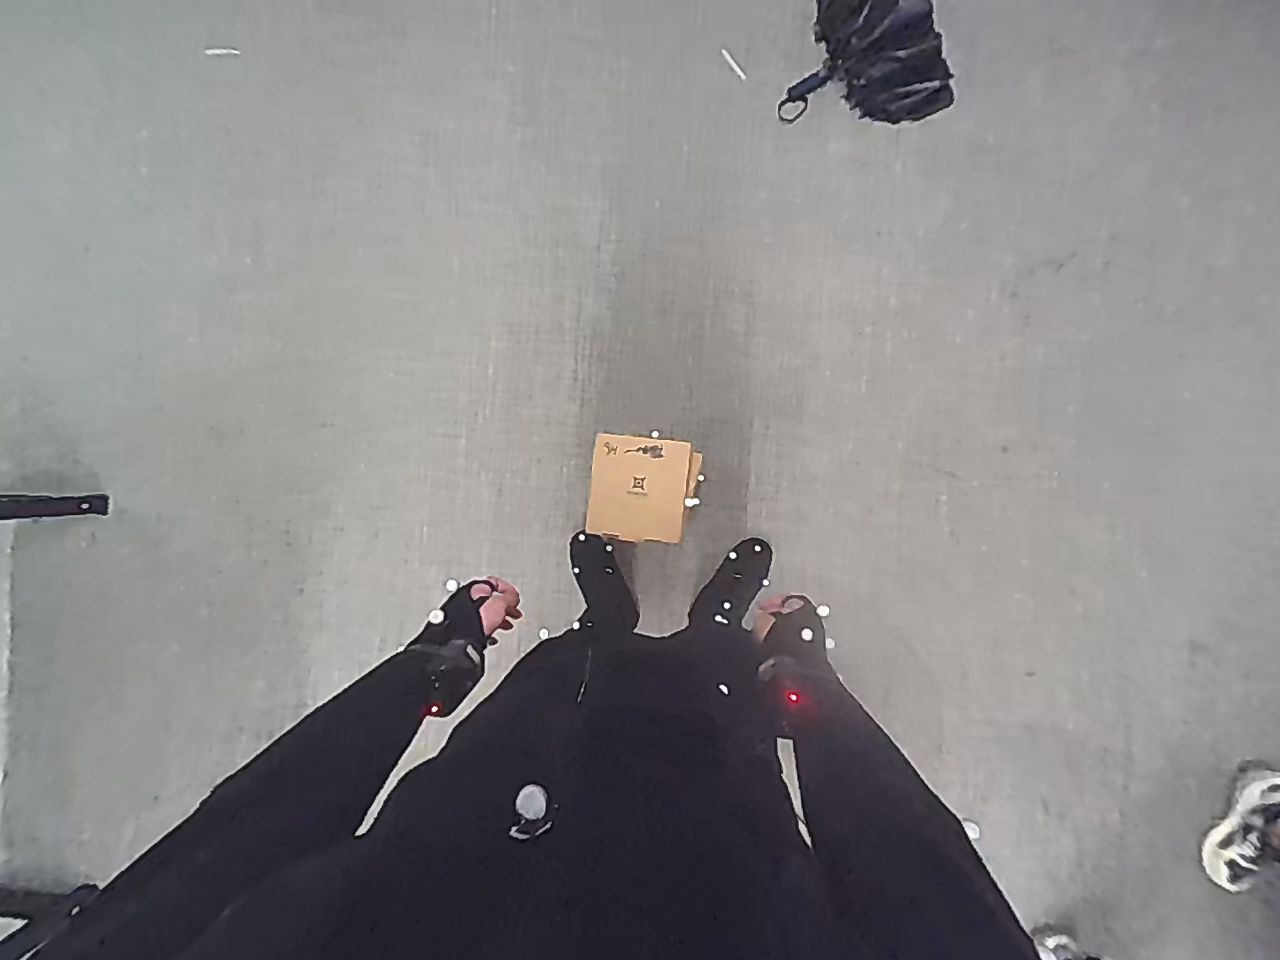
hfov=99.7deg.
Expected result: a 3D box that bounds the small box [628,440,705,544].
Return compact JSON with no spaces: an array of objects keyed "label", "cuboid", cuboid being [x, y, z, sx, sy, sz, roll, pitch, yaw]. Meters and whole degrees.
[{"label":"small box","cuboid":[0.036,0.024,1.167,0.168,0.176,0.179,17,92,6]}]

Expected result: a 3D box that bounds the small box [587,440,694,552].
[{"label":"small box","cuboid":[0.008,0.026,1.007,0.168,0.176,0.179,8,91,6]}]
